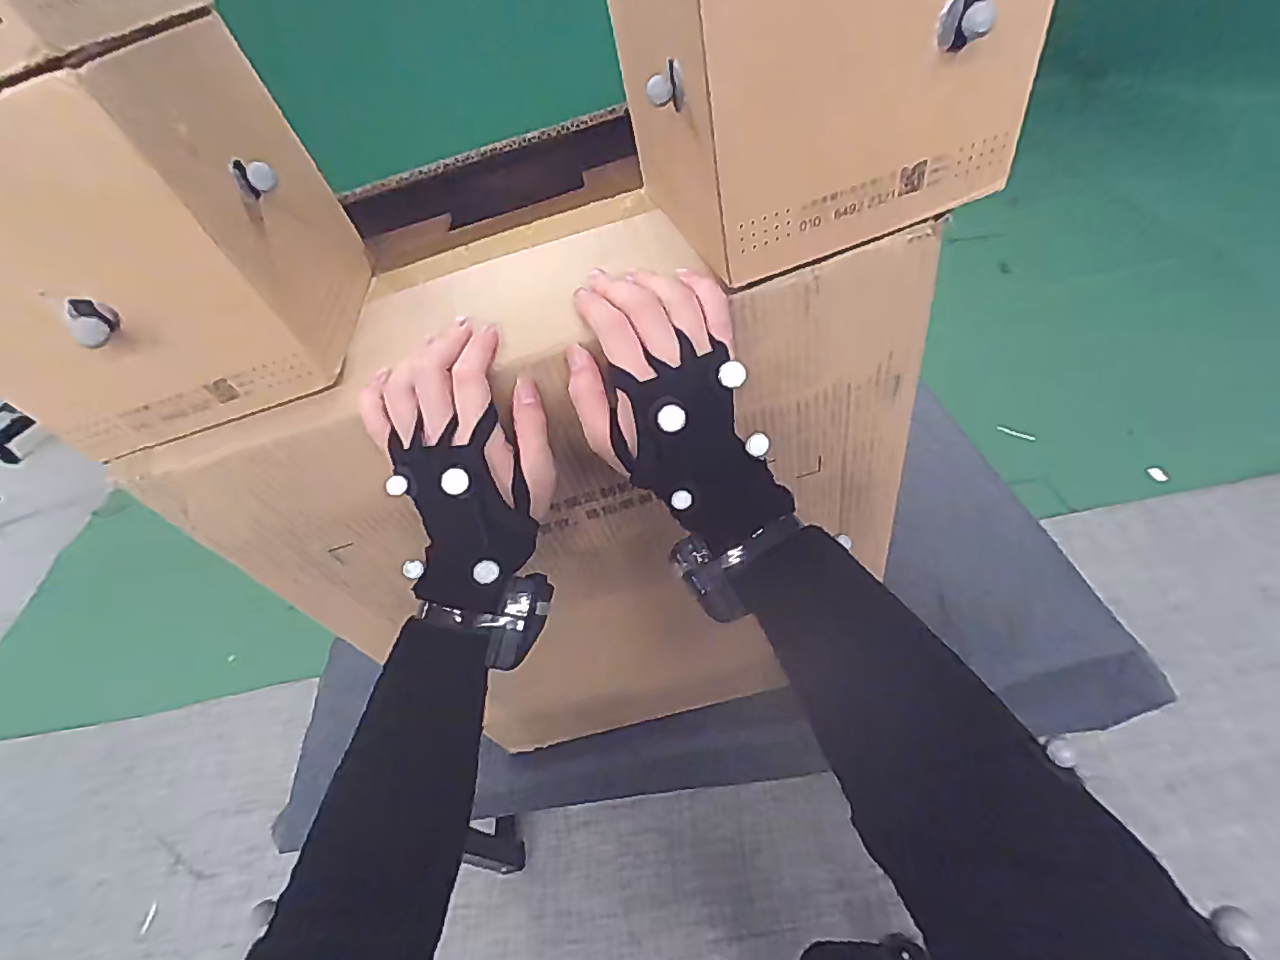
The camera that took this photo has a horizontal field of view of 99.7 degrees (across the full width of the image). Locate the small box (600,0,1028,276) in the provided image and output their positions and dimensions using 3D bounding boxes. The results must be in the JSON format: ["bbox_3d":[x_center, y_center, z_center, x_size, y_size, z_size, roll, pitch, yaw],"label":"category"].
[{"bbox_3d":[0.083,-0.236,0.299,0.168,0.176,0.179,-20,46,-2],"label":"small box"}]

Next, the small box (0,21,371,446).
[{"bbox_3d":[-0.298,-0.141,0.338,0.168,0.176,0.179,-18,48,3],"label":"small box"}]
